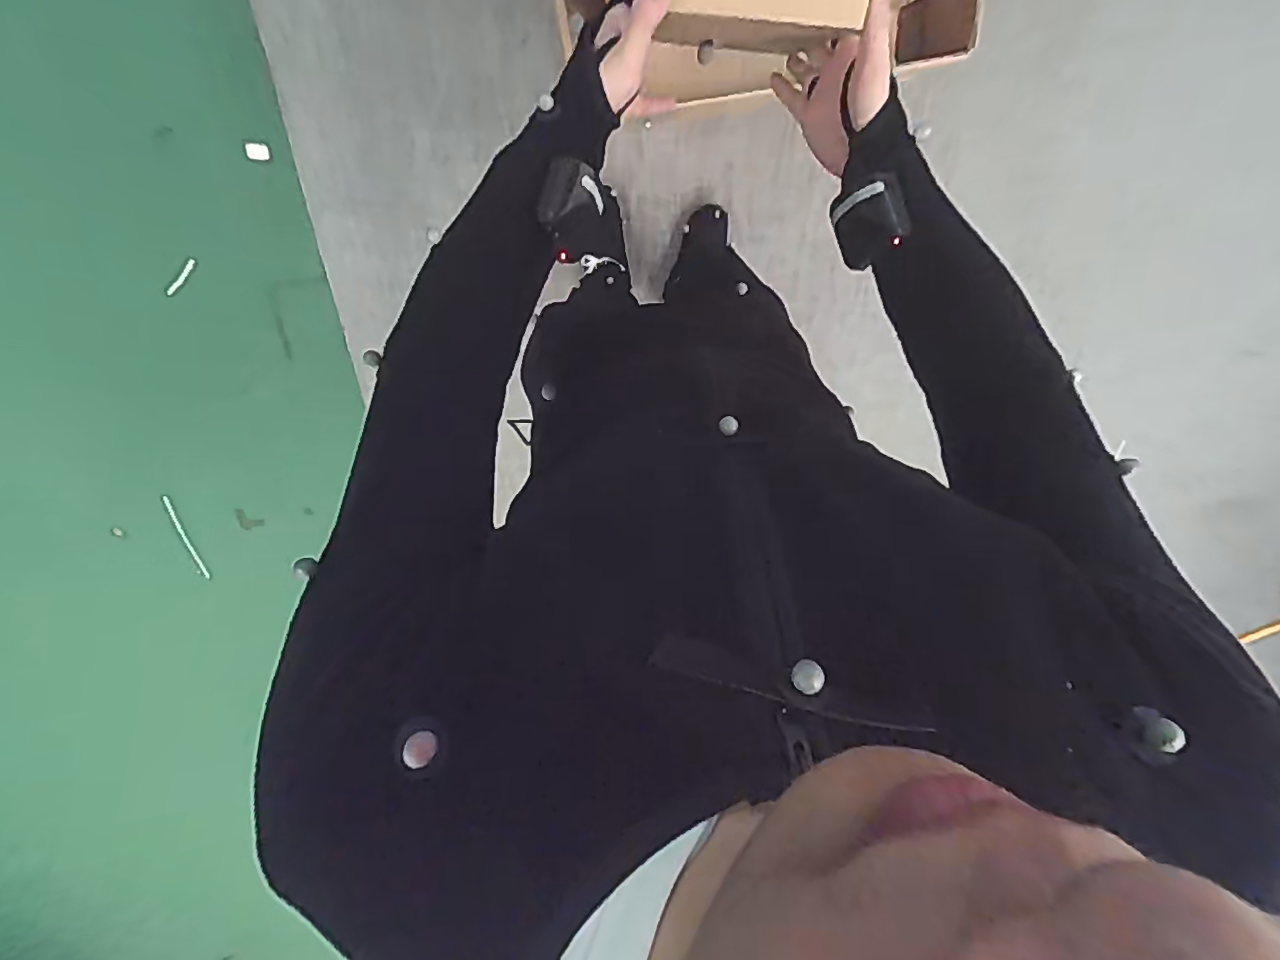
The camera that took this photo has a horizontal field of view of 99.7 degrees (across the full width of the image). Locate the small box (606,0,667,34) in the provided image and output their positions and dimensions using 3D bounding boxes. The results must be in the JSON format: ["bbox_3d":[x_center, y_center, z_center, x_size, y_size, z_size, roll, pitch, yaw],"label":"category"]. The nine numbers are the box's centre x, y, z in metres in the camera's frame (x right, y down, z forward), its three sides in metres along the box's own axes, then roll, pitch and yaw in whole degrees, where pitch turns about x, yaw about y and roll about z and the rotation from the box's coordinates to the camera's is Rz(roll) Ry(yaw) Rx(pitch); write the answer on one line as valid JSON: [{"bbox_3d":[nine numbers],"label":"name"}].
[{"bbox_3d":[0.031,-0.740,0.742,0.168,0.176,0.179,-10,121,-1],"label":"small box"}]

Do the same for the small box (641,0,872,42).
[{"bbox_3d":[0.091,-0.472,0.420,0.168,0.176,0.179,1,123,-7],"label":"small box"}]
